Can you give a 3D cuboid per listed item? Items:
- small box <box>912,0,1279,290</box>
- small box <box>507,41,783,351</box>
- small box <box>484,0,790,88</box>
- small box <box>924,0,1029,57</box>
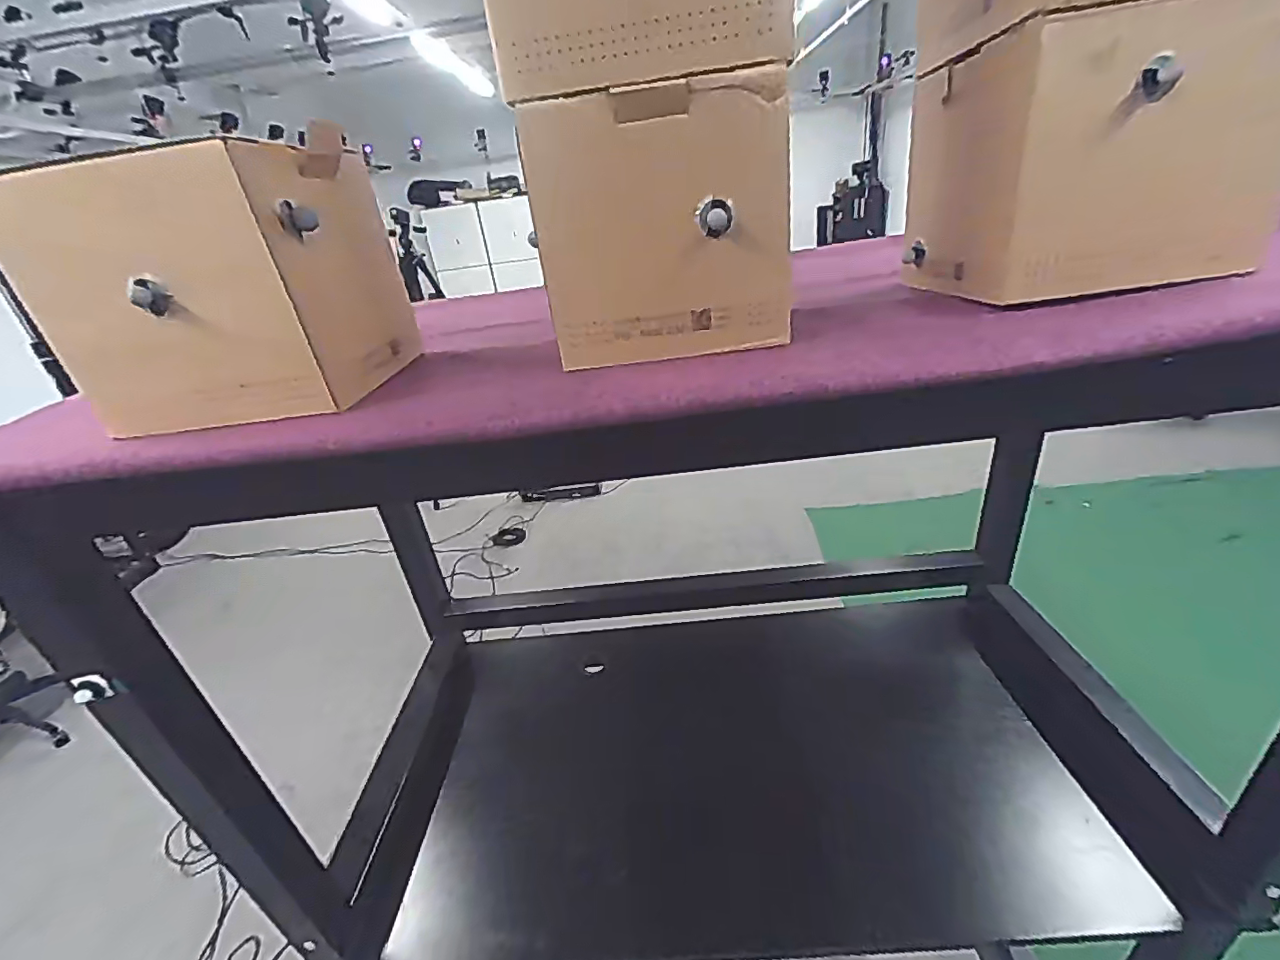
[{"bbox_3d":[0.324,-0.244,0.406,0.179,0.176,0.168,-7,25,3],"label":"small box"},{"bbox_3d":[0.015,-0.201,0.419,0.168,0.176,0.179,-5,27,5],"label":"small box"},{"bbox_3d":[-0.006,-0.347,0.345,0.179,0.176,0.168,-5,28,5],"label":"small box"},{"bbox_3d":[0.301,-0.392,0.342,0.179,0.176,0.168,-7,25,4],"label":"small box"}]
